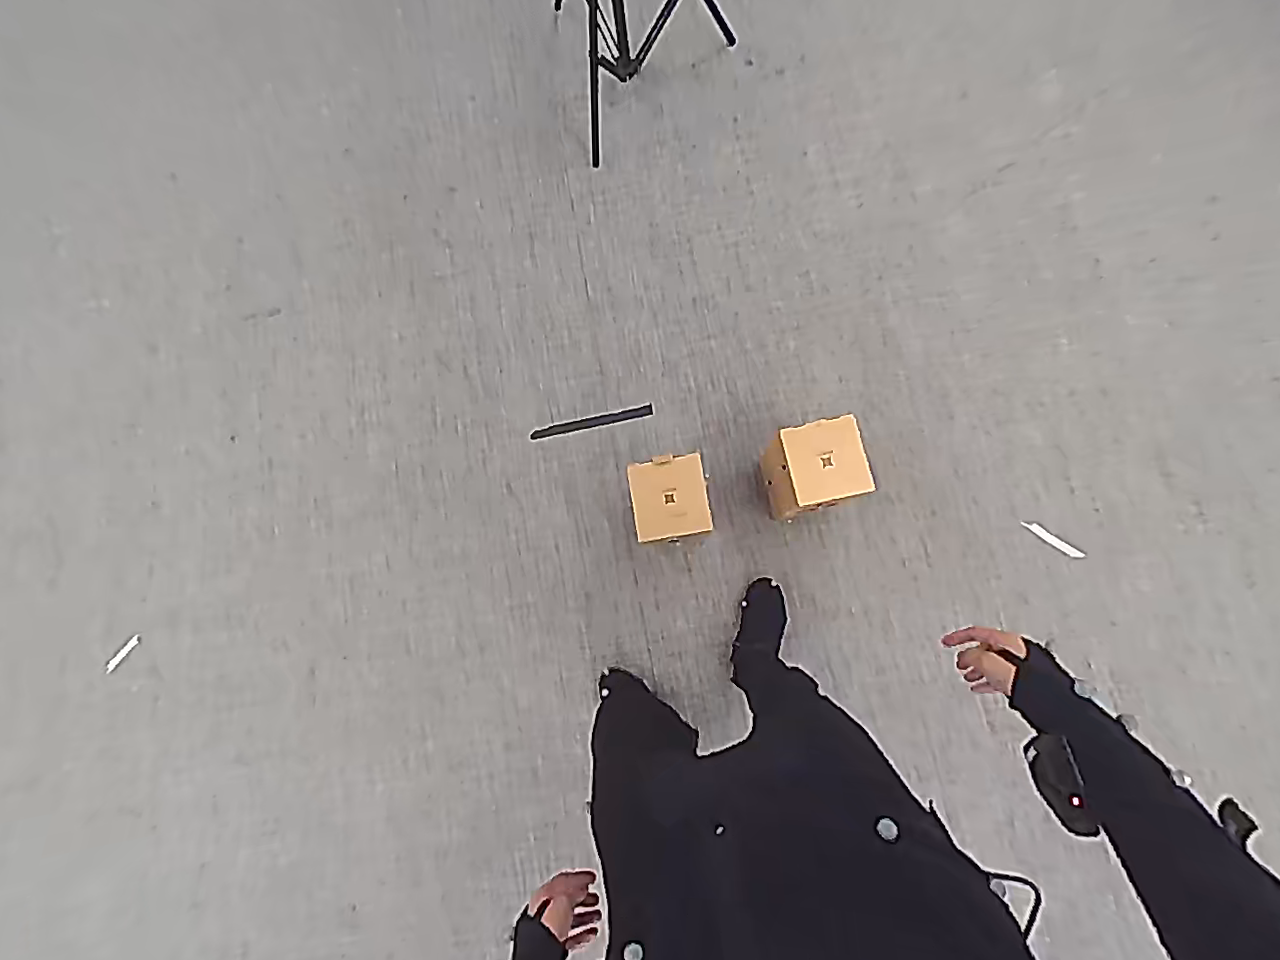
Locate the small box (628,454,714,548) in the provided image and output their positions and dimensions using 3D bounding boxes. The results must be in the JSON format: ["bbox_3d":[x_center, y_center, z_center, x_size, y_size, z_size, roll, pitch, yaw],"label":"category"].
[{"bbox_3d":[0.071,0.054,1.237,0.168,0.176,0.179,-10,80,4],"label":"small box"}]

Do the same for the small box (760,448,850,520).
[{"bbox_3d":[0.416,0.003,1.382,0.168,0.176,0.179,-13,79,3],"label":"small box"}]

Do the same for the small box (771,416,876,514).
[{"bbox_3d":[0.404,-0.025,1.222,0.168,0.176,0.179,-13,79,3],"label":"small box"}]
